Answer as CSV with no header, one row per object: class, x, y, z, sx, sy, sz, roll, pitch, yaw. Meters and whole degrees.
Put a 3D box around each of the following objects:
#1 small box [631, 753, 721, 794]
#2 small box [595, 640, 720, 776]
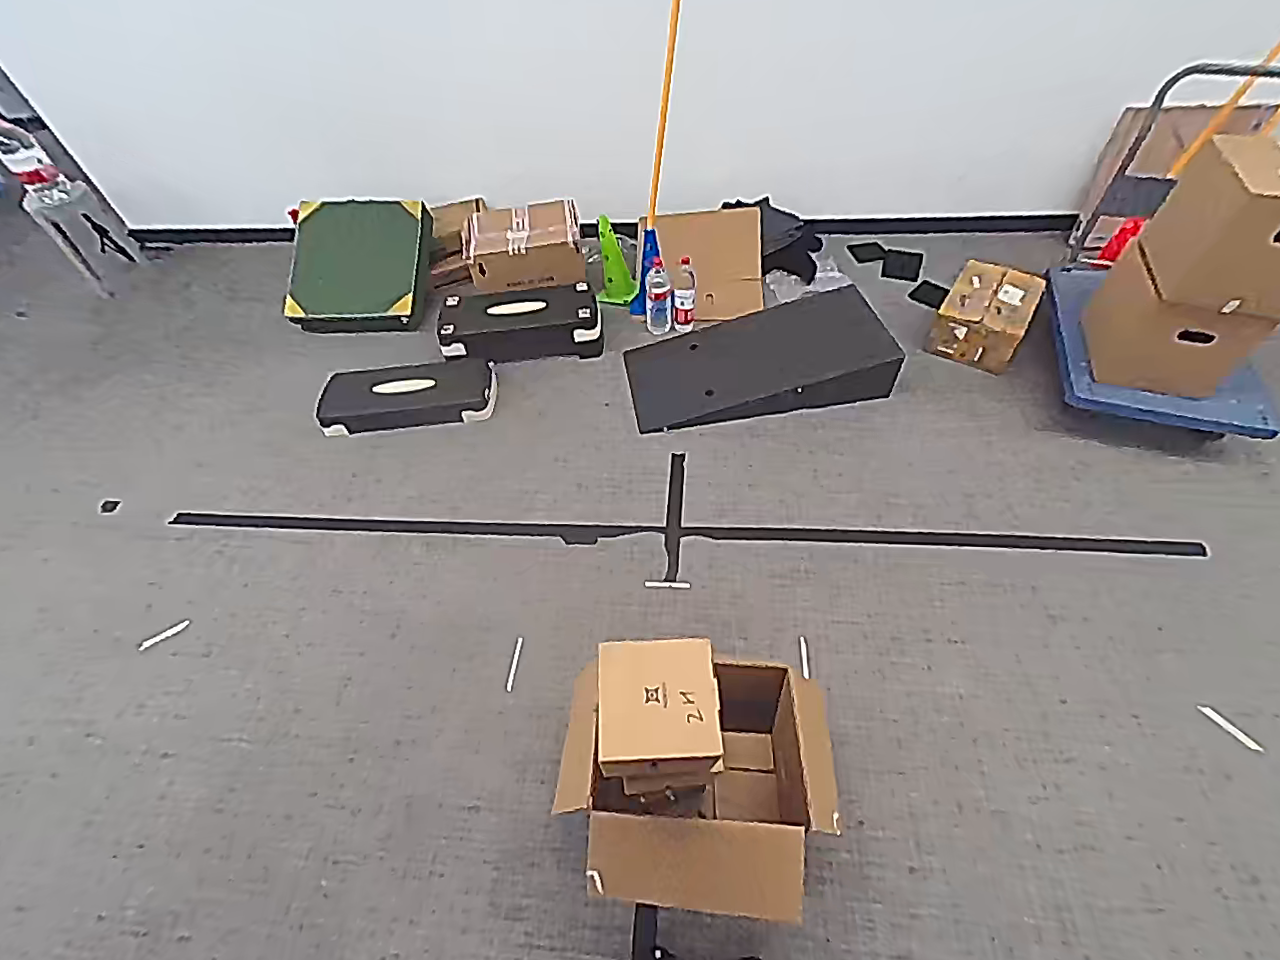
small box,0.053,0.538,1.131,0.179,0.176,0.168,-13,55,-10
small box,0.023,0.363,0.852,0.179,0.176,0.168,-2,56,-2
